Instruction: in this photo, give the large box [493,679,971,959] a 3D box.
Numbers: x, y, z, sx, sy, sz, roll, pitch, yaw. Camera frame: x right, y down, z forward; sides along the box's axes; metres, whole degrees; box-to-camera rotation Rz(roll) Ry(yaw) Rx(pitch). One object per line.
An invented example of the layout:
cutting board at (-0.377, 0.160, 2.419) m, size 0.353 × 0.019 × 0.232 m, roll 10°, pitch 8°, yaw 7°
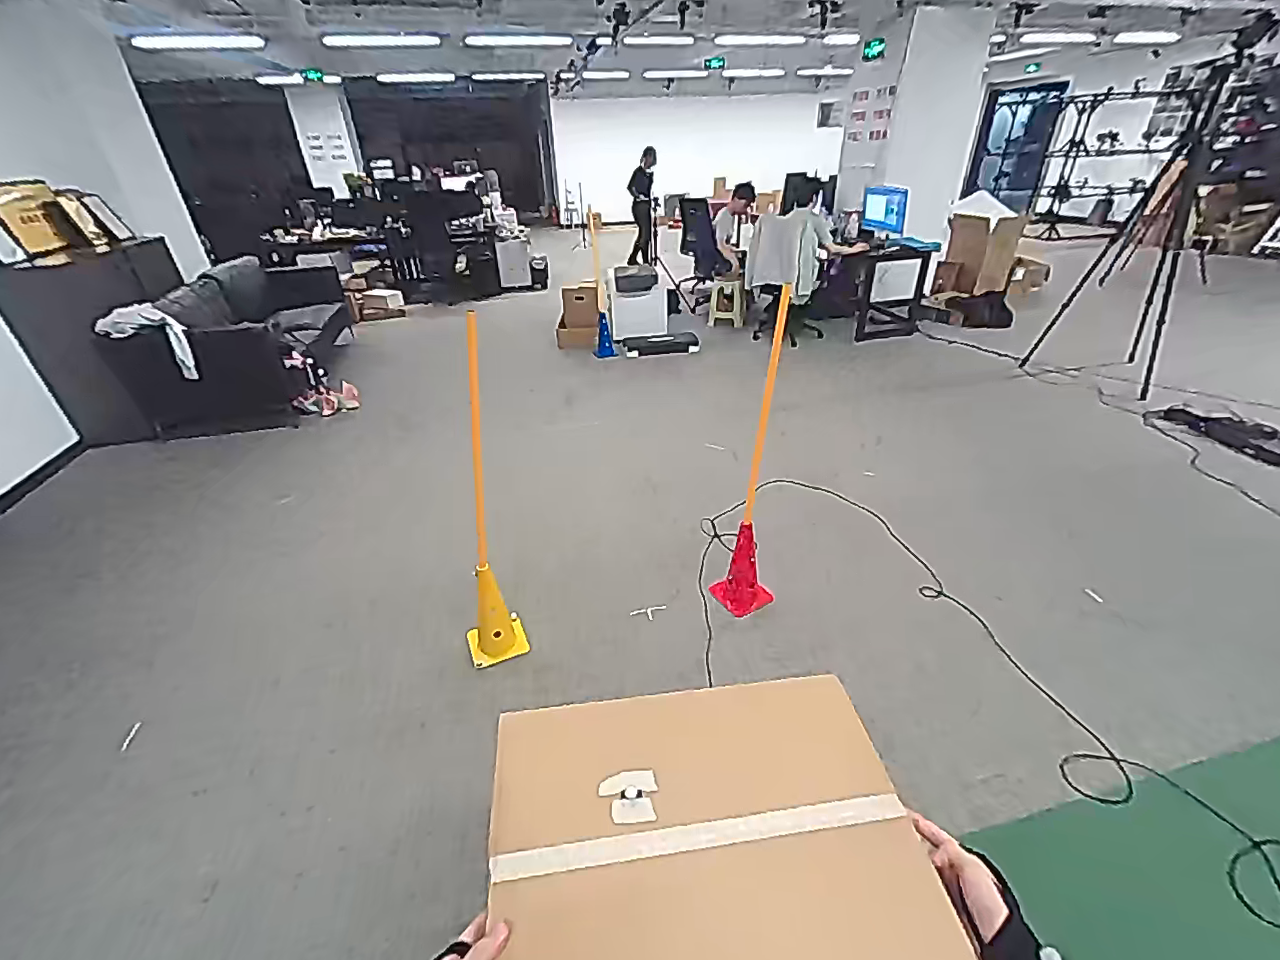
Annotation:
large box at (0.067, 0.471, 0.610) m, size 0.408 × 0.320 × 0.320 m, roll -5°, pitch 36°, yaw -6°
